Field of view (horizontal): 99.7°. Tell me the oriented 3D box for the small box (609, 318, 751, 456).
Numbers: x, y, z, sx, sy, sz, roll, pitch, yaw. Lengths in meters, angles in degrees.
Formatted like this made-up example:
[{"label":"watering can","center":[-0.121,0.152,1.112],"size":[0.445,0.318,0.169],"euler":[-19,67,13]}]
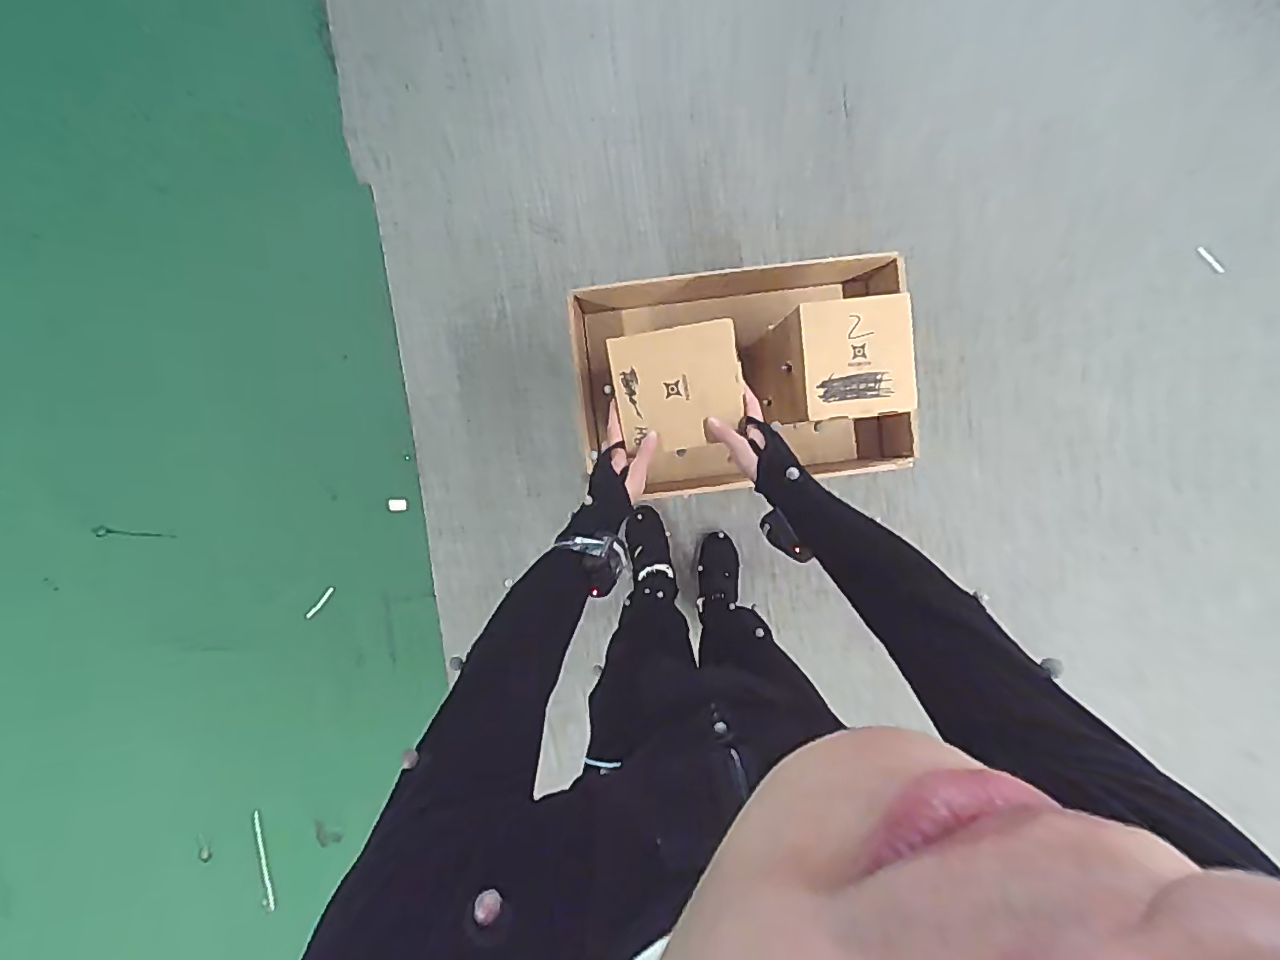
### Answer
[{"label":"small box","center":[0.052,-0.133,0.807],"size":[0.179,0.176,0.168],"euler":[-10,95,0]}]
